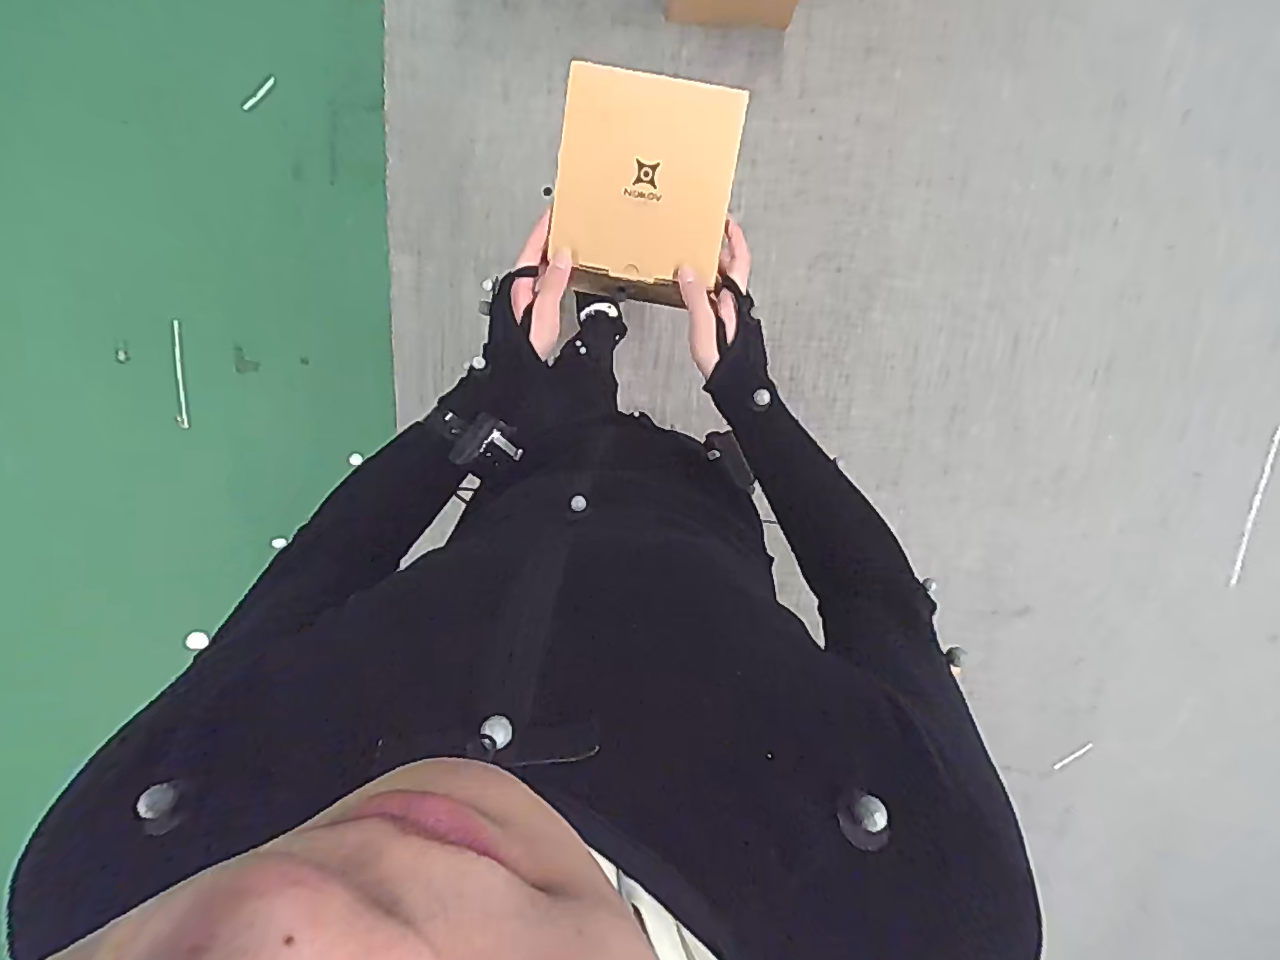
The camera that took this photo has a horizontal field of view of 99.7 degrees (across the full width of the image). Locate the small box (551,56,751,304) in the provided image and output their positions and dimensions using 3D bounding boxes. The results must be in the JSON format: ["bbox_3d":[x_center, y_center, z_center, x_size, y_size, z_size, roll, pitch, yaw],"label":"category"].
[{"bbox_3d":[0.007,-0.300,0.582,0.168,0.176,0.179,9,102,-2],"label":"small box"}]
